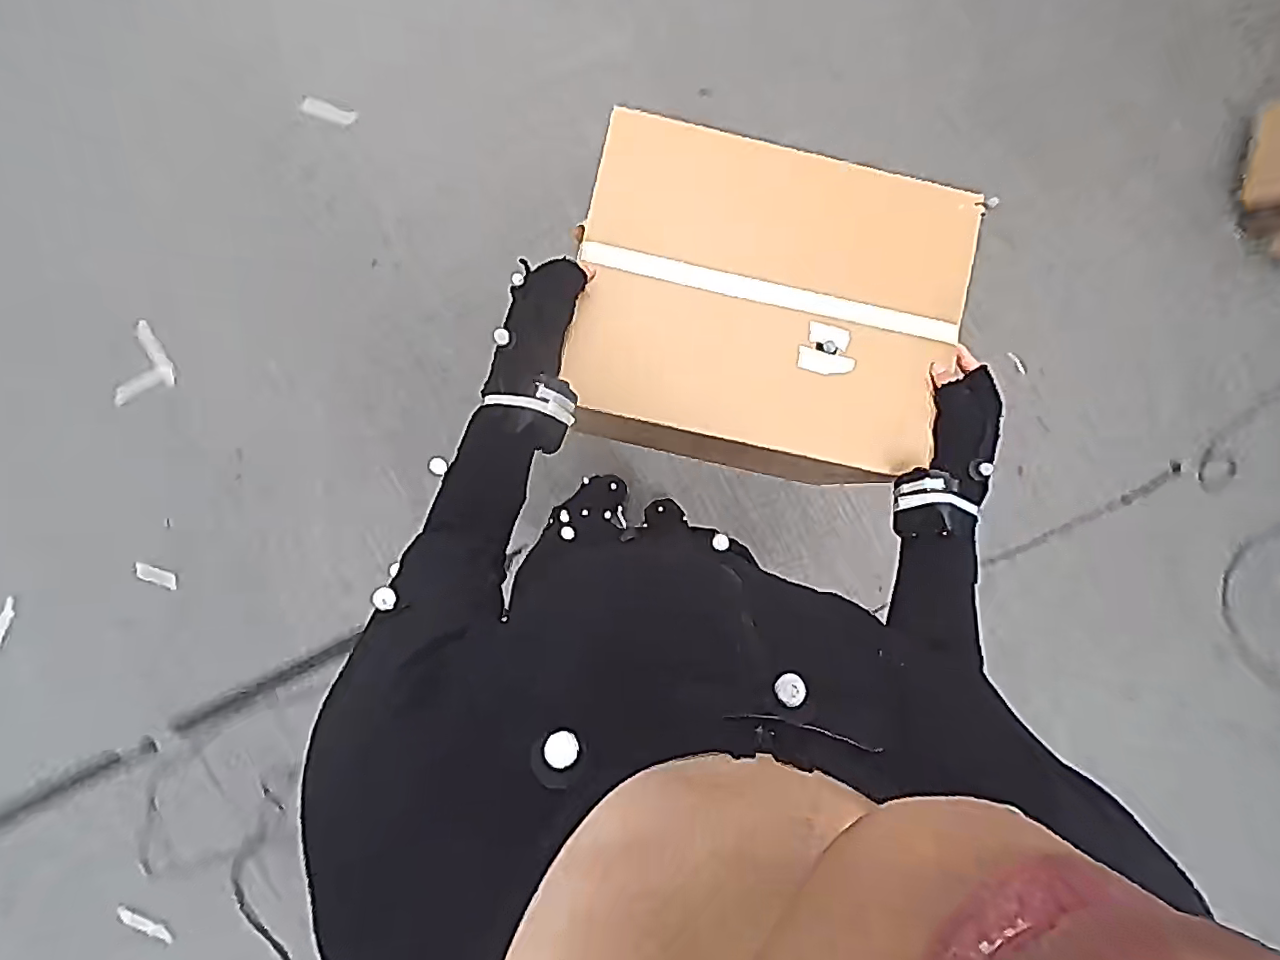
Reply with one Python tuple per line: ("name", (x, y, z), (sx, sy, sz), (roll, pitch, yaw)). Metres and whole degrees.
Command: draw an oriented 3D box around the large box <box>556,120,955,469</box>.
("large box", (0.119, -0.201, 0.730), (0.408, 0.320, 0.320), (10, 89, -3))
